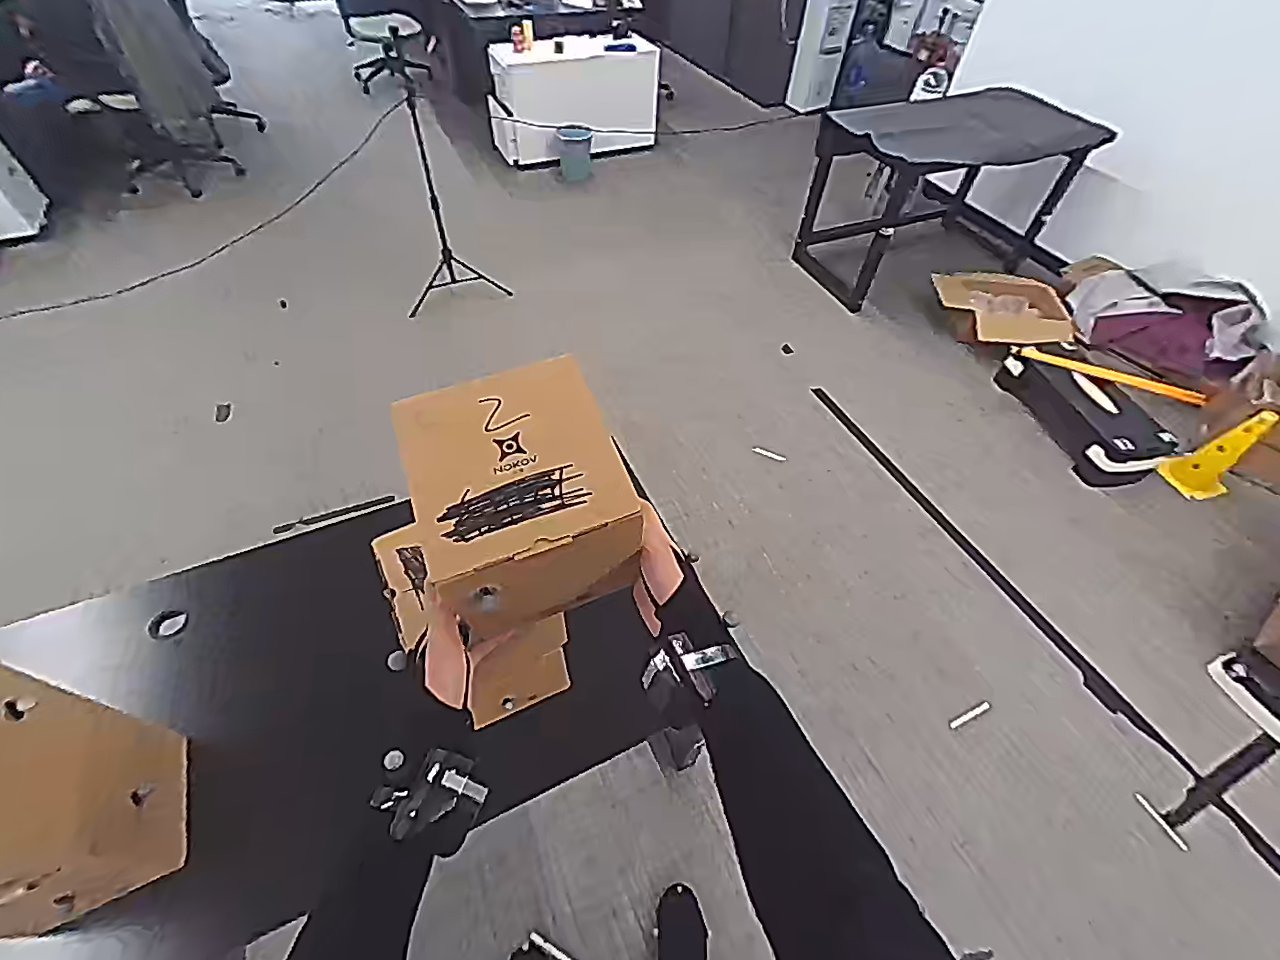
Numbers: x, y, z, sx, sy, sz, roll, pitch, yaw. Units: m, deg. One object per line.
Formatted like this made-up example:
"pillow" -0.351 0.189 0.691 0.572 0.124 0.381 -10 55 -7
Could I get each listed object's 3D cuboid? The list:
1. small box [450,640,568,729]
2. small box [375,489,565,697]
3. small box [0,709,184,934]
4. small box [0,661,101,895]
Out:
"small box" -0.217 0.245 0.826 0.168 0.176 0.179 -20 55 -18
"small box" -0.208 0.148 0.694 0.179 0.176 0.168 -22 56 -20
"small box" -0.698 0.417 0.660 0.168 0.176 0.179 -20 56 -19
"small box" -0.692 0.313 0.533 0.168 0.176 0.179 -20 55 -17
